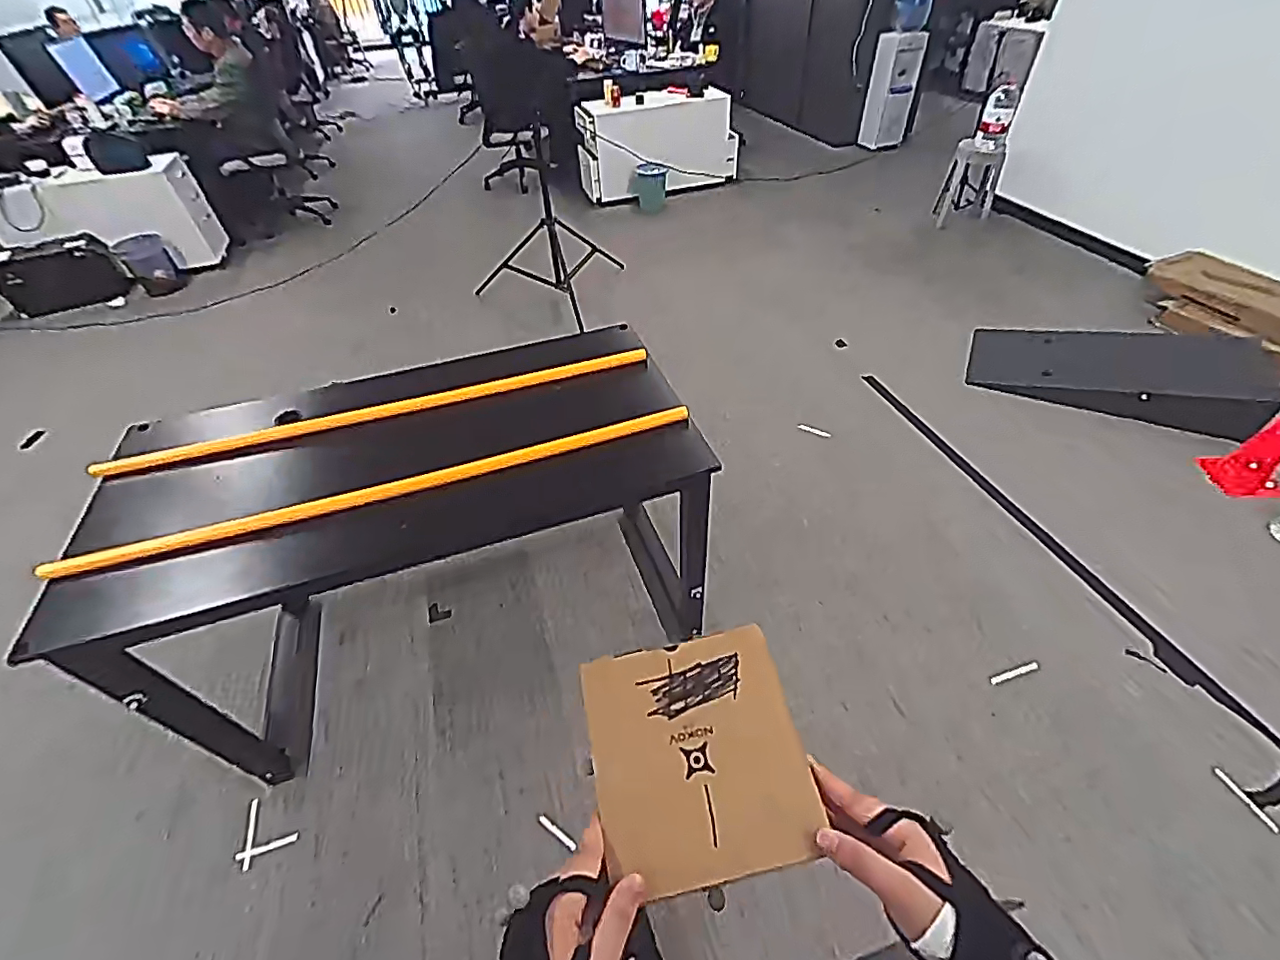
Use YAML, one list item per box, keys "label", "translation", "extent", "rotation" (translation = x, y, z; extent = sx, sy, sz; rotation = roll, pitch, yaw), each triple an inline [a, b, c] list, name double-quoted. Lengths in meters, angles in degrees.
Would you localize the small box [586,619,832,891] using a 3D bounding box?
- label: "small box"
  translation: [0.050, 0.257, 0.501]
  extent: [0.168, 0.176, 0.179]
  rotation: [-12, 53, -3]
